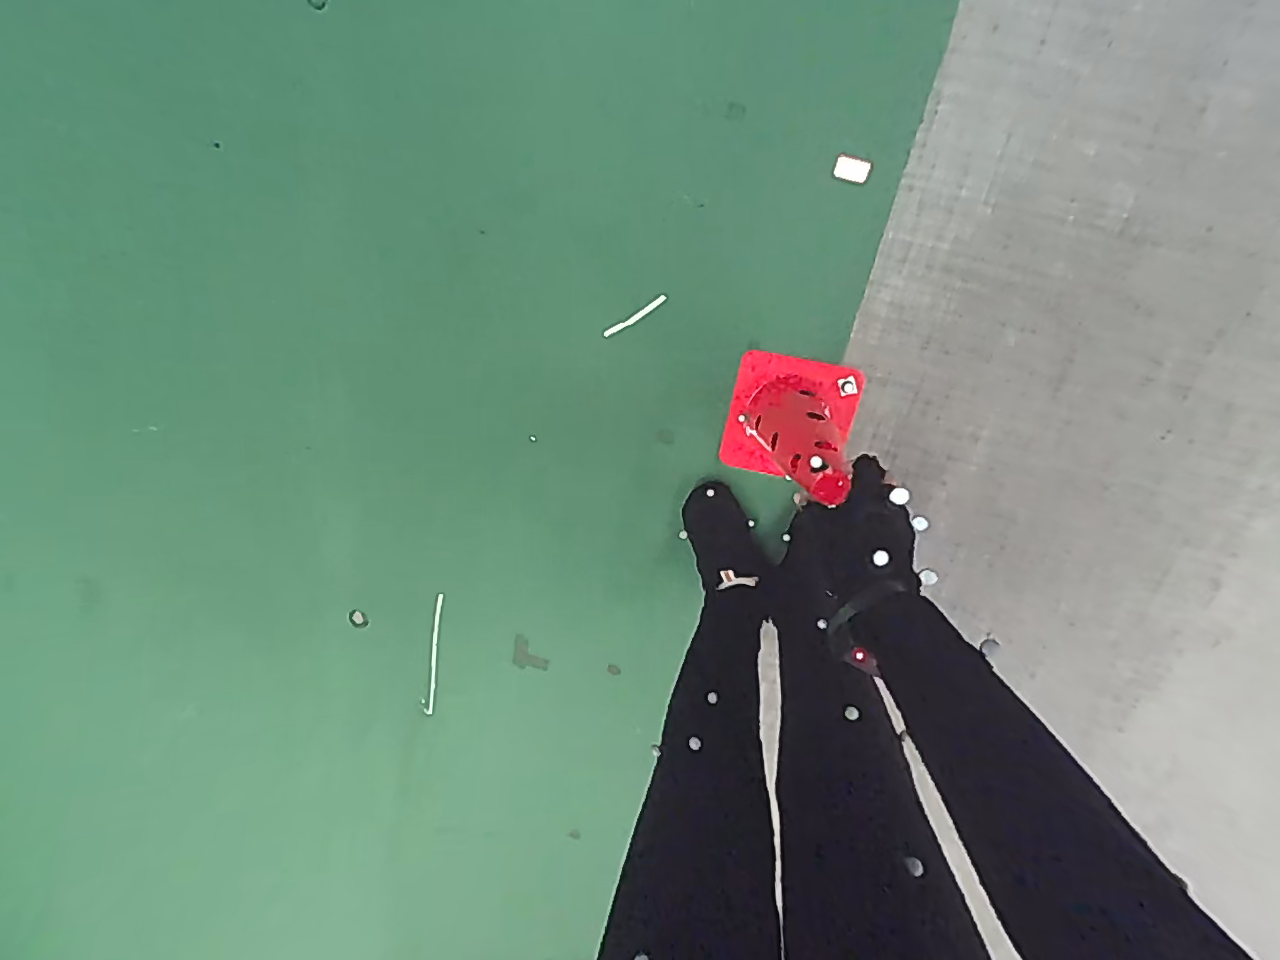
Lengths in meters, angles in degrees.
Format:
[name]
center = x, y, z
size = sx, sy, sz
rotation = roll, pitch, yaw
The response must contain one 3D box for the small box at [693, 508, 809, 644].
[small box]
center = 0.186, 0.164, 0.953
size = 0.168, 0.176, 0.179
rotation = -3, 112, -1
